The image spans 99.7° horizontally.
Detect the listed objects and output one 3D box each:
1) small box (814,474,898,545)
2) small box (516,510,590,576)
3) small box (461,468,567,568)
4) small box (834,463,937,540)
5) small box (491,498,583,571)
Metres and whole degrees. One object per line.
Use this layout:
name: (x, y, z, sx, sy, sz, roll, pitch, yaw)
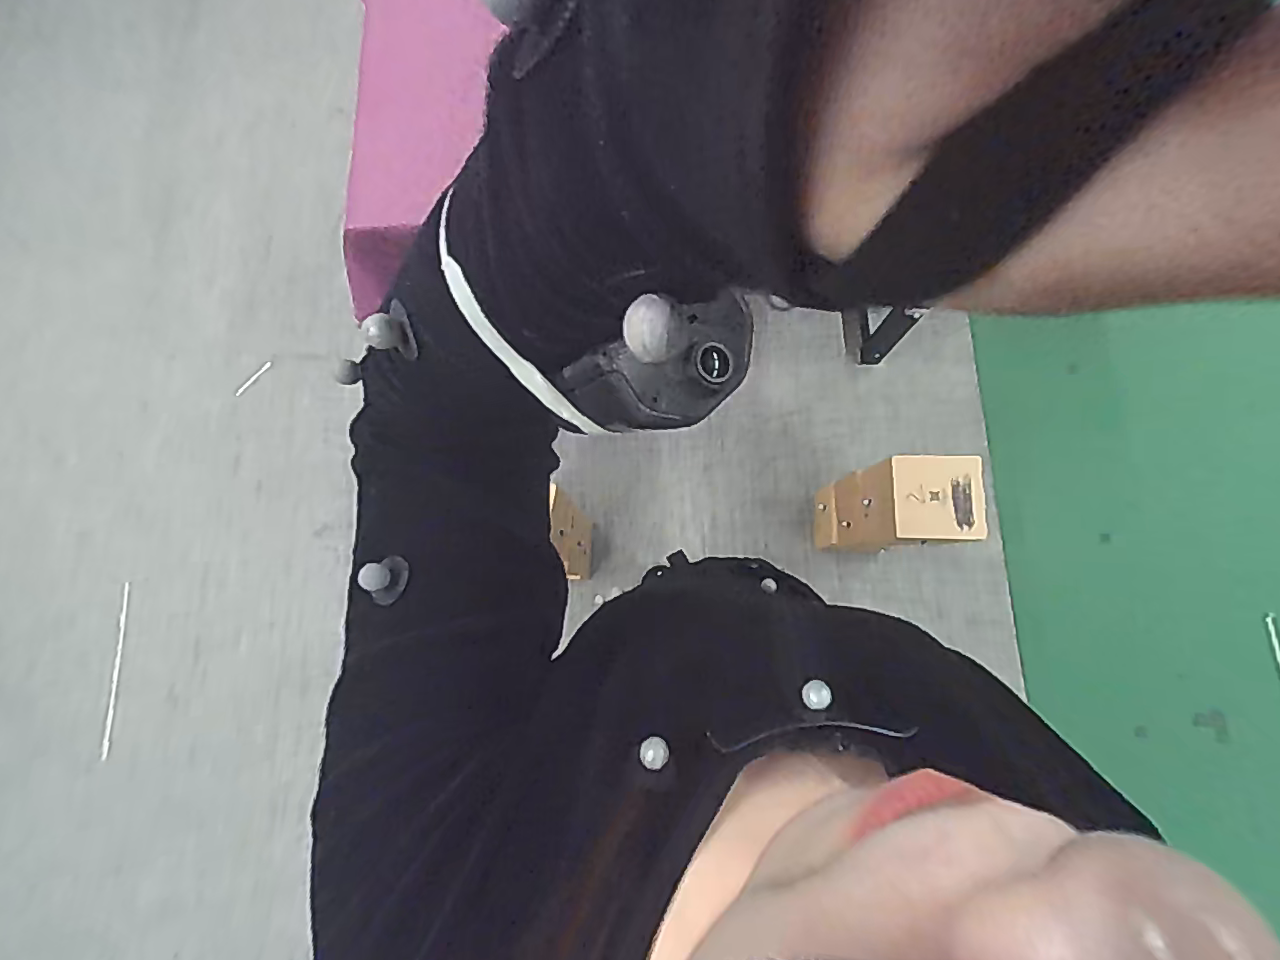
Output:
small box: (0.573, 0.085, 1.455, 0.179, 0.176, 0.168, 2, 79, 2)
small box: (-0.229, 0.170, 1.472, 0.168, 0.176, 0.179, 2, 78, 2)
small box: (-0.258, 0.087, 1.153, 0.168, 0.176, 0.179, 8, 79, 4)
small box: (0.575, 0.056, 1.294, 0.179, 0.176, 0.168, 0, 80, 1)
small box: (-0.243, 0.131, 1.312, 0.179, 0.176, 0.168, 5, 80, 3)
